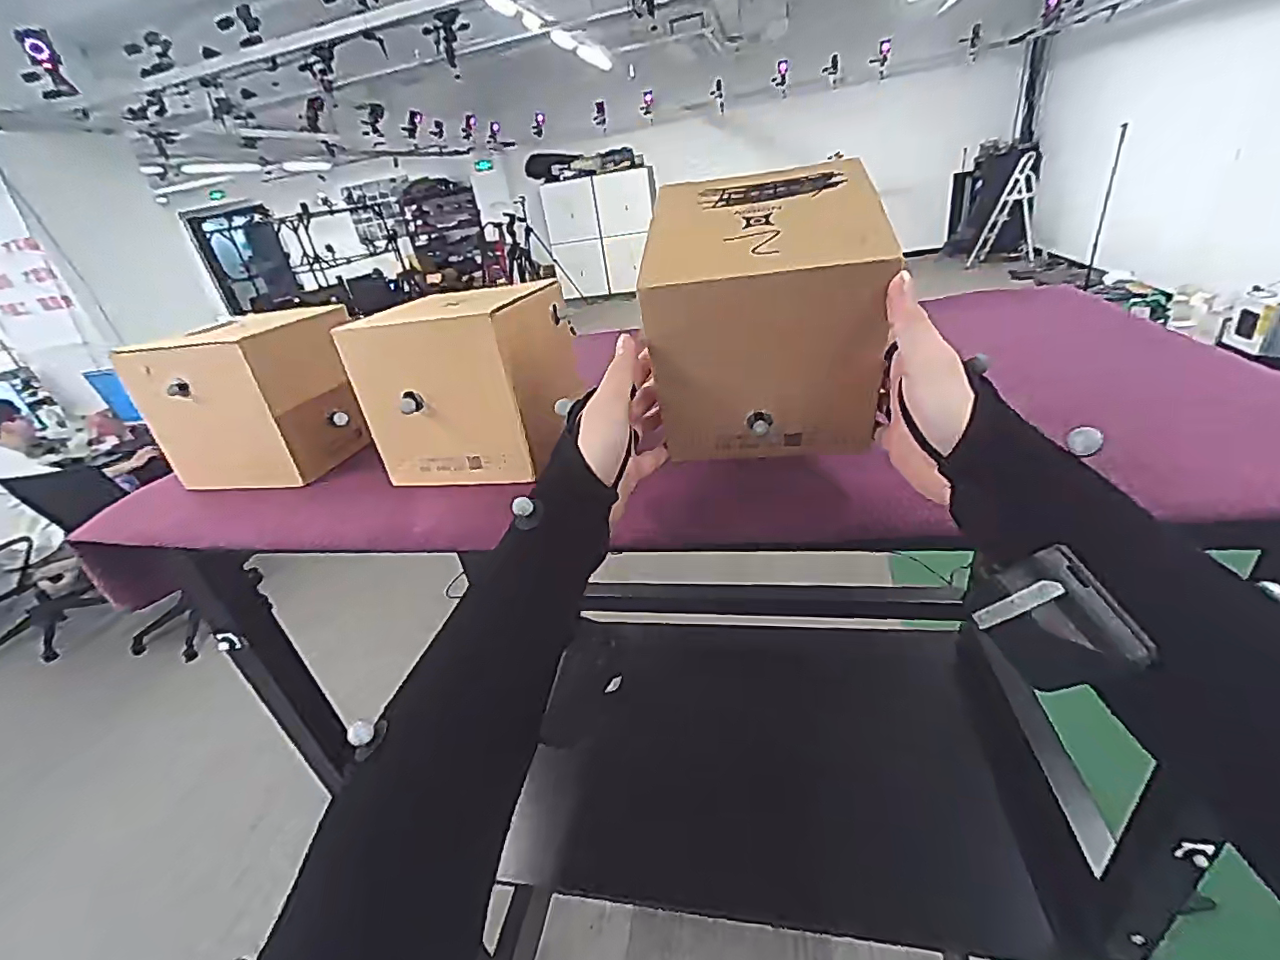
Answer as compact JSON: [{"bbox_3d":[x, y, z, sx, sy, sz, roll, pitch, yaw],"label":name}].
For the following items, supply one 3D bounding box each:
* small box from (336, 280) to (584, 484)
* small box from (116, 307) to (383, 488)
[{"bbox_3d":[-0.171,-0.103,0.579,0.168,0.176,0.179,-2,28,15],"label":"small box"},{"bbox_3d":[-0.444,-0.099,0.652,0.179,0.176,0.168,-1,29,14],"label":"small box"}]
